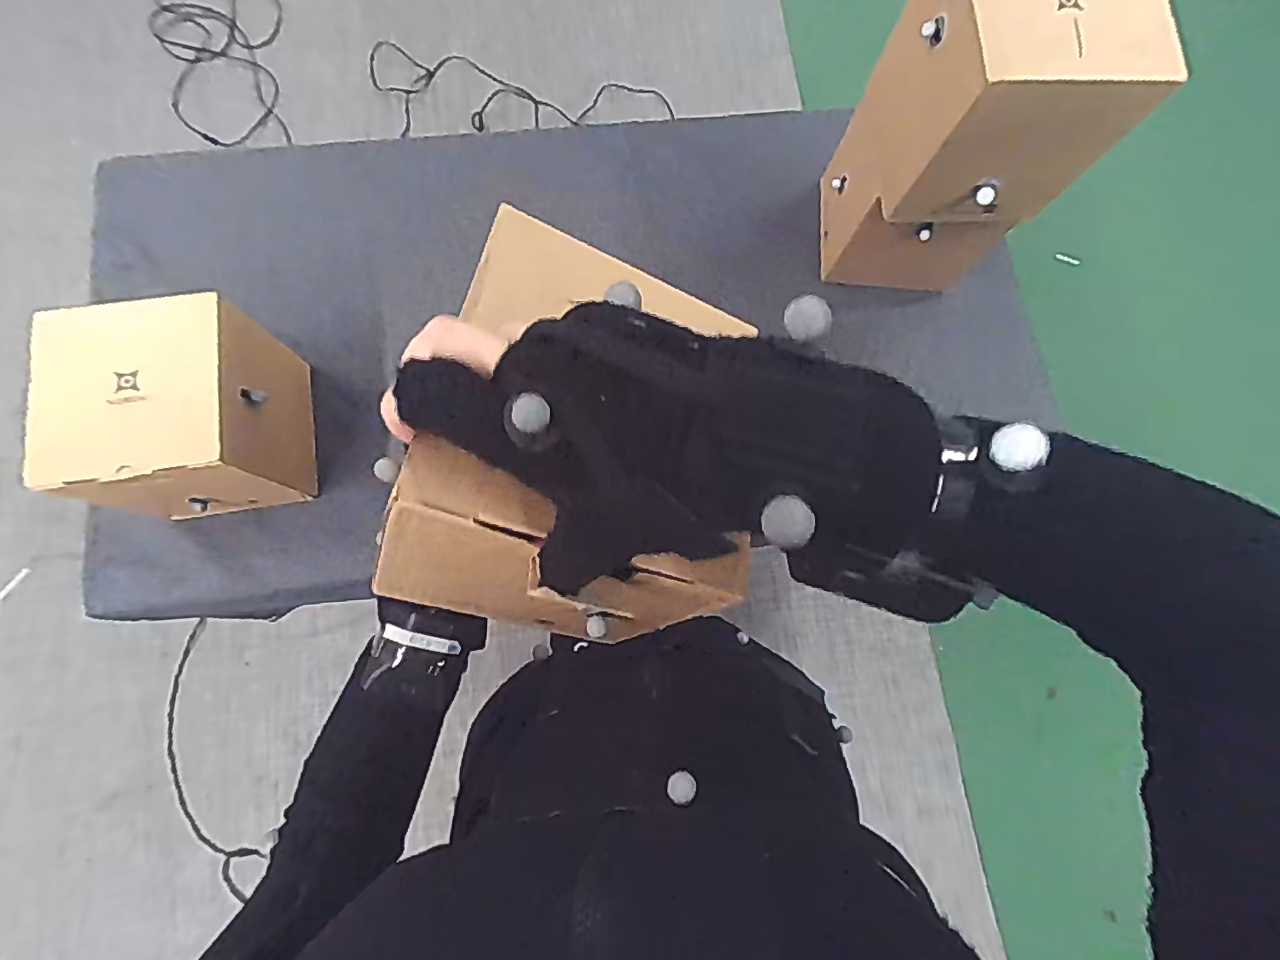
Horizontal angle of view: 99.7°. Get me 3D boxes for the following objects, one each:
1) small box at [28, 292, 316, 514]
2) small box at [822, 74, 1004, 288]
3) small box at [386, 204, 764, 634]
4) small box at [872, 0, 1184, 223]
[{"bbox_3d":[-0.474,-0.071,0.577,0.168,0.176,0.179,-9,79,-5],"label":"small box"},{"bbox_3d":[0.341,-0.362,0.681,0.179,0.176,0.168,5,78,-2],"label":"small box"},{"bbox_3d":[-0.044,-0.015,0.334,0.168,0.176,0.179,20,59,-20],"label":"small box"},{"bbox_3d":[0.341,-0.378,0.517,0.168,0.176,0.179,-2,79,-2],"label":"small box"}]
